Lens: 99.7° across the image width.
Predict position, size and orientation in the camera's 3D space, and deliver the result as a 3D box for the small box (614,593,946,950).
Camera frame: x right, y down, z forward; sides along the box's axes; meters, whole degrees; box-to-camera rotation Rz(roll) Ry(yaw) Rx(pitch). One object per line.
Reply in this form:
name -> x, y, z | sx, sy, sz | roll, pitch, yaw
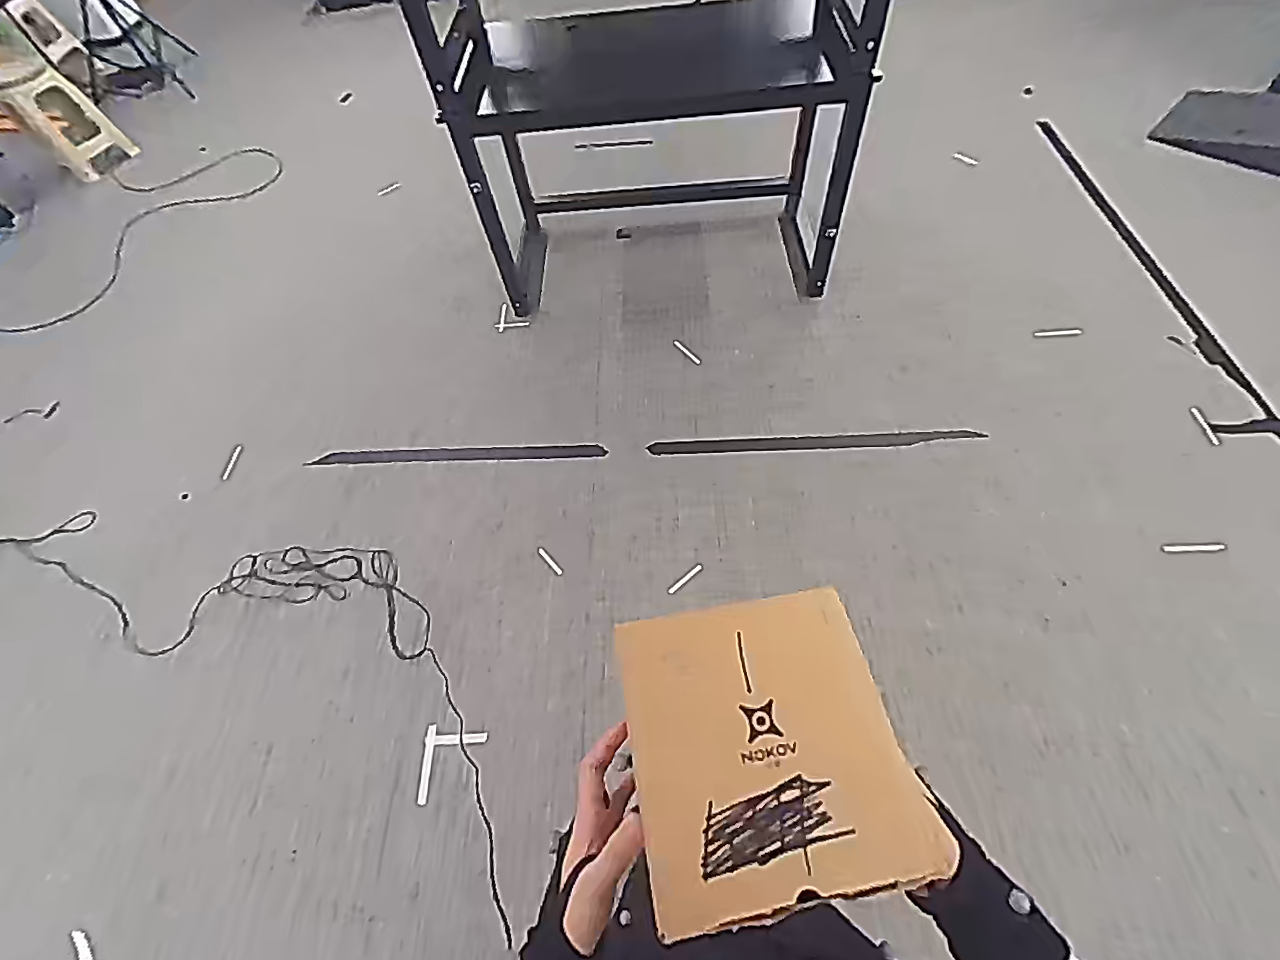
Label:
small box -> 0.078, 0.207, 0.404 | 0.168, 0.176, 0.179 | -9, 57, -6
